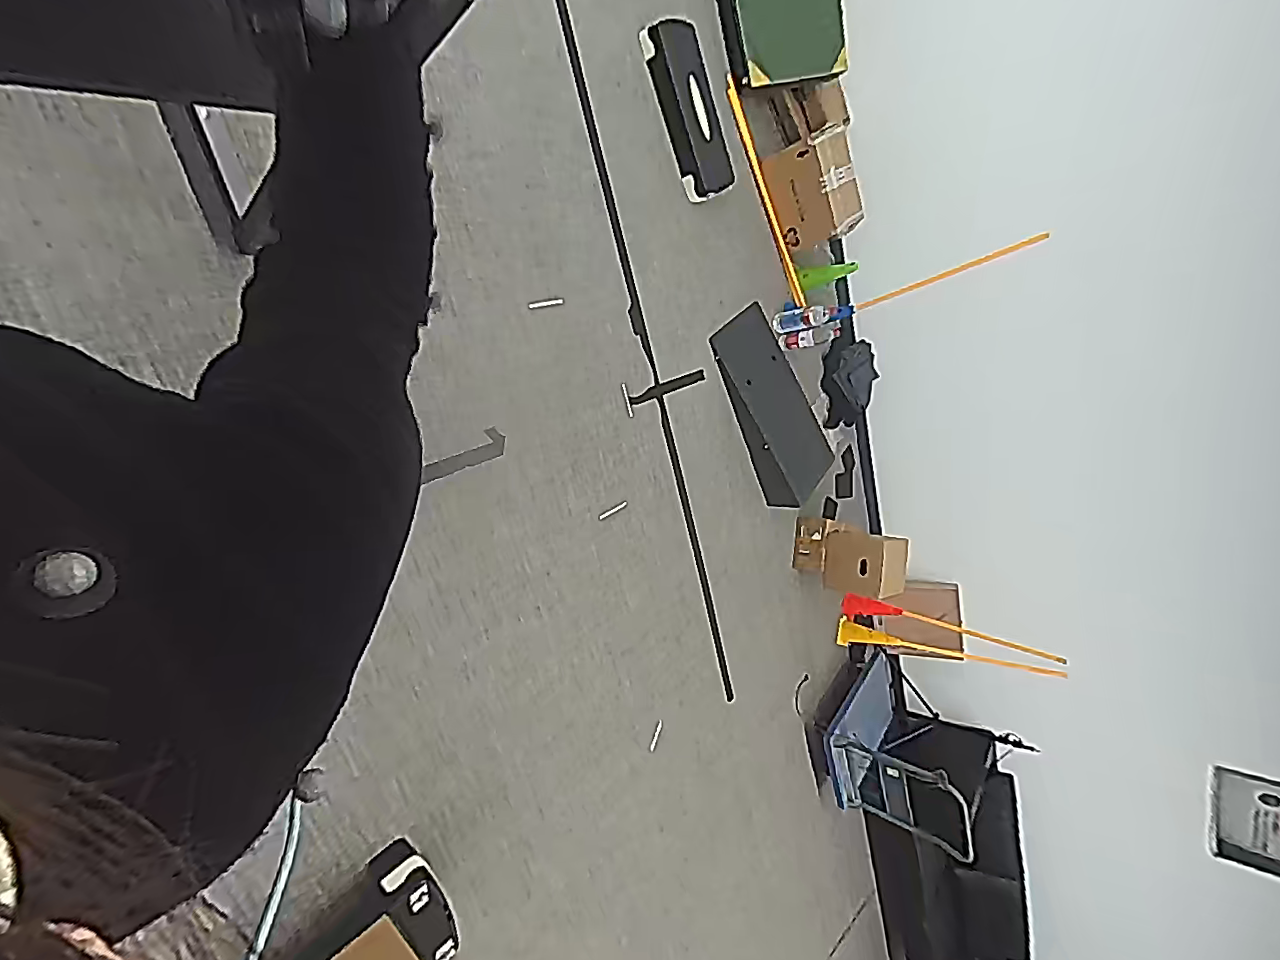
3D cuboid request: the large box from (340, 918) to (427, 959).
[{"bbox_3d":[-0.597,1.260,1.109,0.408,0.320,0.320,-23,107,-44],"label":"large box"}]
